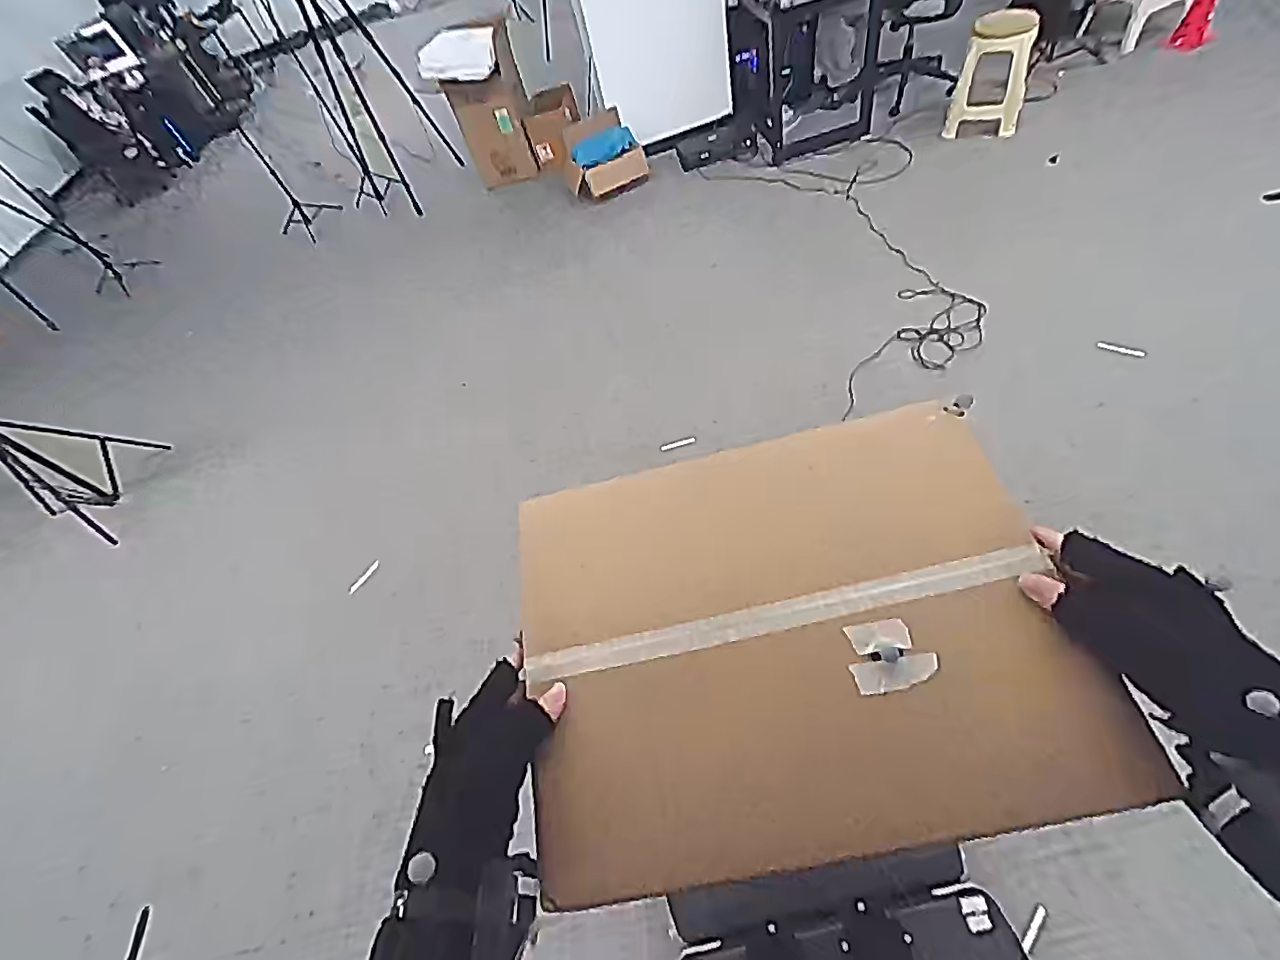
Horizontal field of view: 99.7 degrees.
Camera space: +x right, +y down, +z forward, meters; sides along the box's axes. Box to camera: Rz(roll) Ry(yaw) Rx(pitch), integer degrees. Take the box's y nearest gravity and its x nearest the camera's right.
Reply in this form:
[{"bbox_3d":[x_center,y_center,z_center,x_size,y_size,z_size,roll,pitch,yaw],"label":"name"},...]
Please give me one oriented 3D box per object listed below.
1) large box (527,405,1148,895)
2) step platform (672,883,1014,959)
[{"bbox_3d":[0.134,0.179,0.559,0.408,0.320,0.320,-14,60,4],"label":"large box"},{"bbox_3d":[0.401,1.047,1.071,0.684,0.204,0.286,-18,51,5],"label":"step platform"}]
